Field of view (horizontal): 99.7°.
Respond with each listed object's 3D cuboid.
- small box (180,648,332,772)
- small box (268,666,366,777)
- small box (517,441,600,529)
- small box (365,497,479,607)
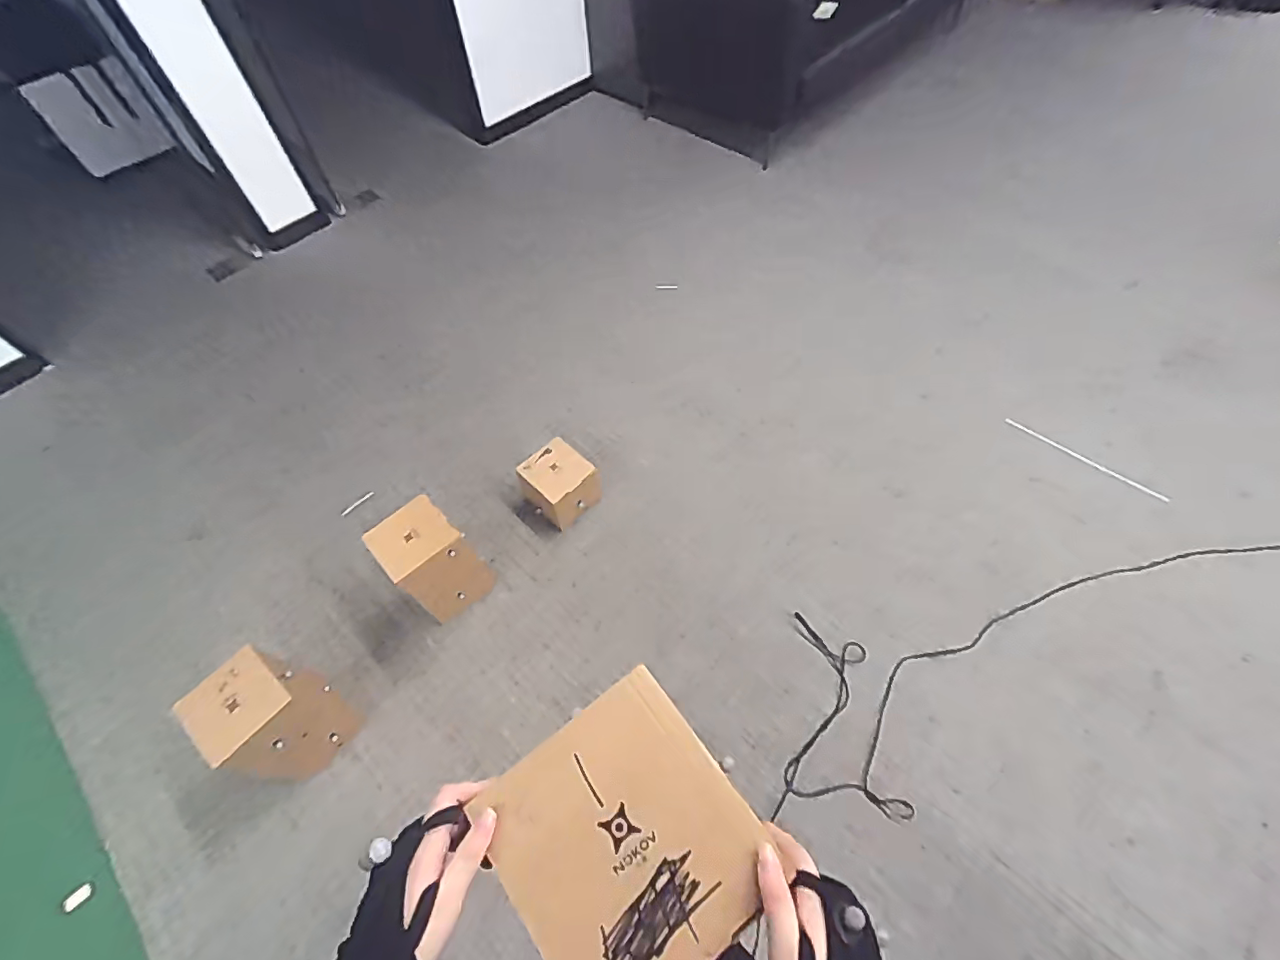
[{"bbox_3d":[-0.802,0.494,1.149,0.179,0.176,0.168,35,64,22],"label":"small box"},{"bbox_3d":[-0.797,0.580,1.289,0.179,0.176,0.168,36,65,23],"label":"small box"},{"bbox_3d":[-0.236,0.023,1.620,0.168,0.176,0.179,-40,65,-21],"label":"small box"},{"bbox_3d":[-0.529,0.184,1.336,0.179,0.176,0.168,-39,63,-20],"label":"small box"}]
